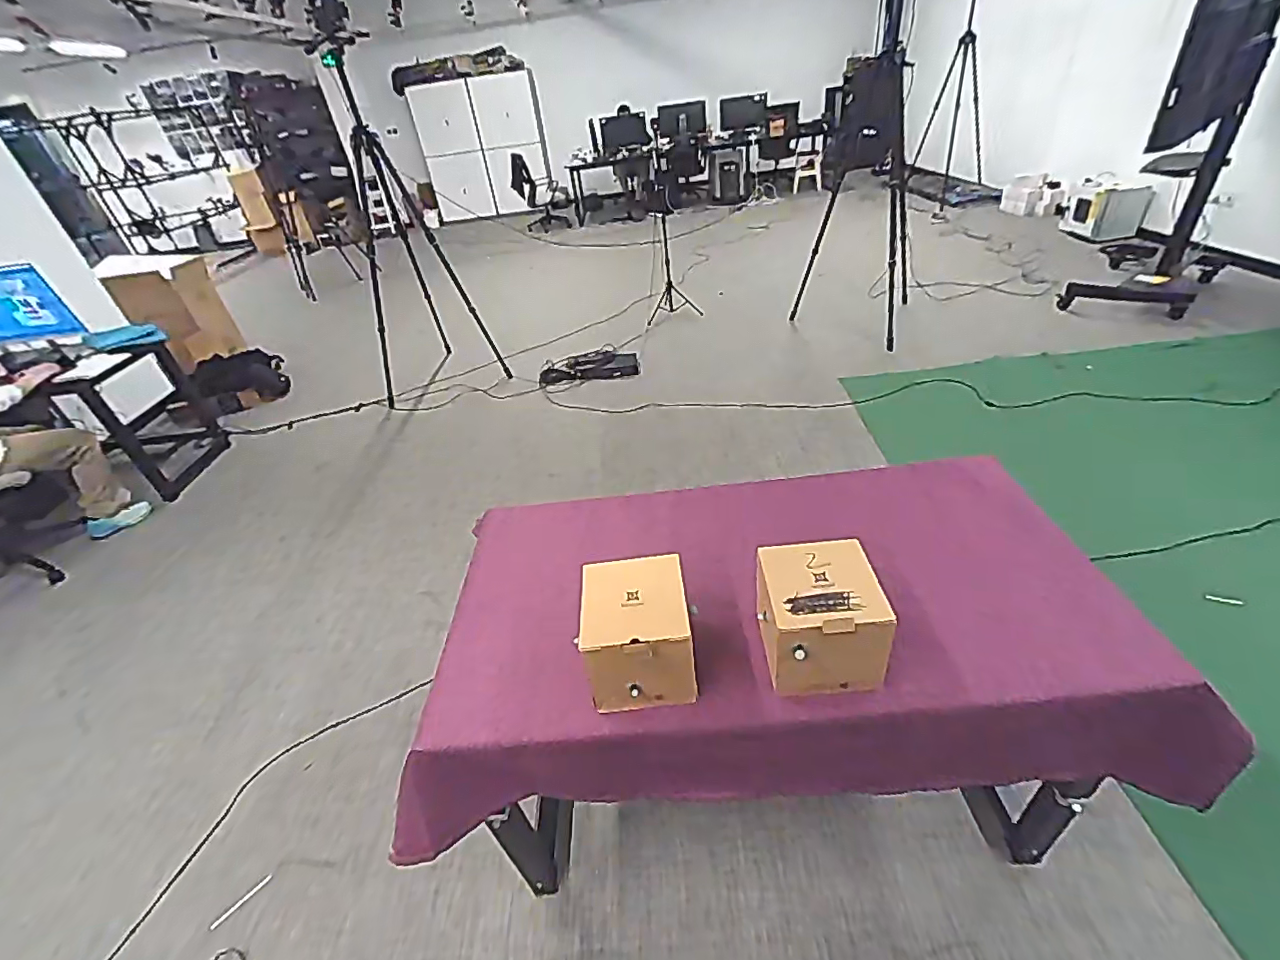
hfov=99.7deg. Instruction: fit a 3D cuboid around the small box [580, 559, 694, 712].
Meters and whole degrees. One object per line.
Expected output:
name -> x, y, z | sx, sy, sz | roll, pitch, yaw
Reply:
small box -> -0.003, 0.259, 0.908 | 0.168, 0.176, 0.179 | -8, 37, 2
